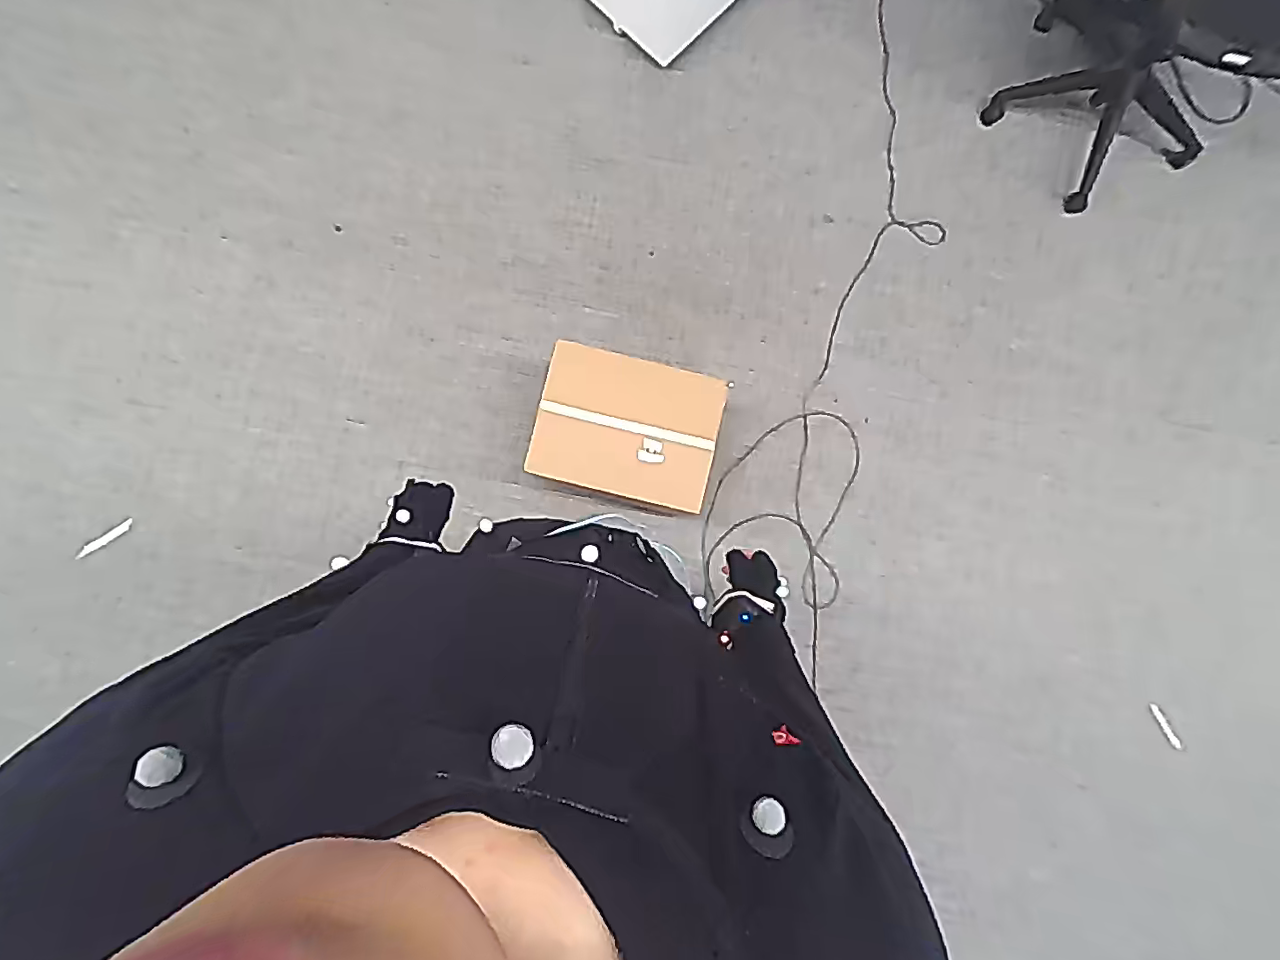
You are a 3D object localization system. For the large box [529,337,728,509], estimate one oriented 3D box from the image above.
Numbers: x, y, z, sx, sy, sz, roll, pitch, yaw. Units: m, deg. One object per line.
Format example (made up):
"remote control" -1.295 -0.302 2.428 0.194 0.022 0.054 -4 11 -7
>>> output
"large box" -0.033 -0.123 1.367 0.408 0.320 0.320 14 86 -2
